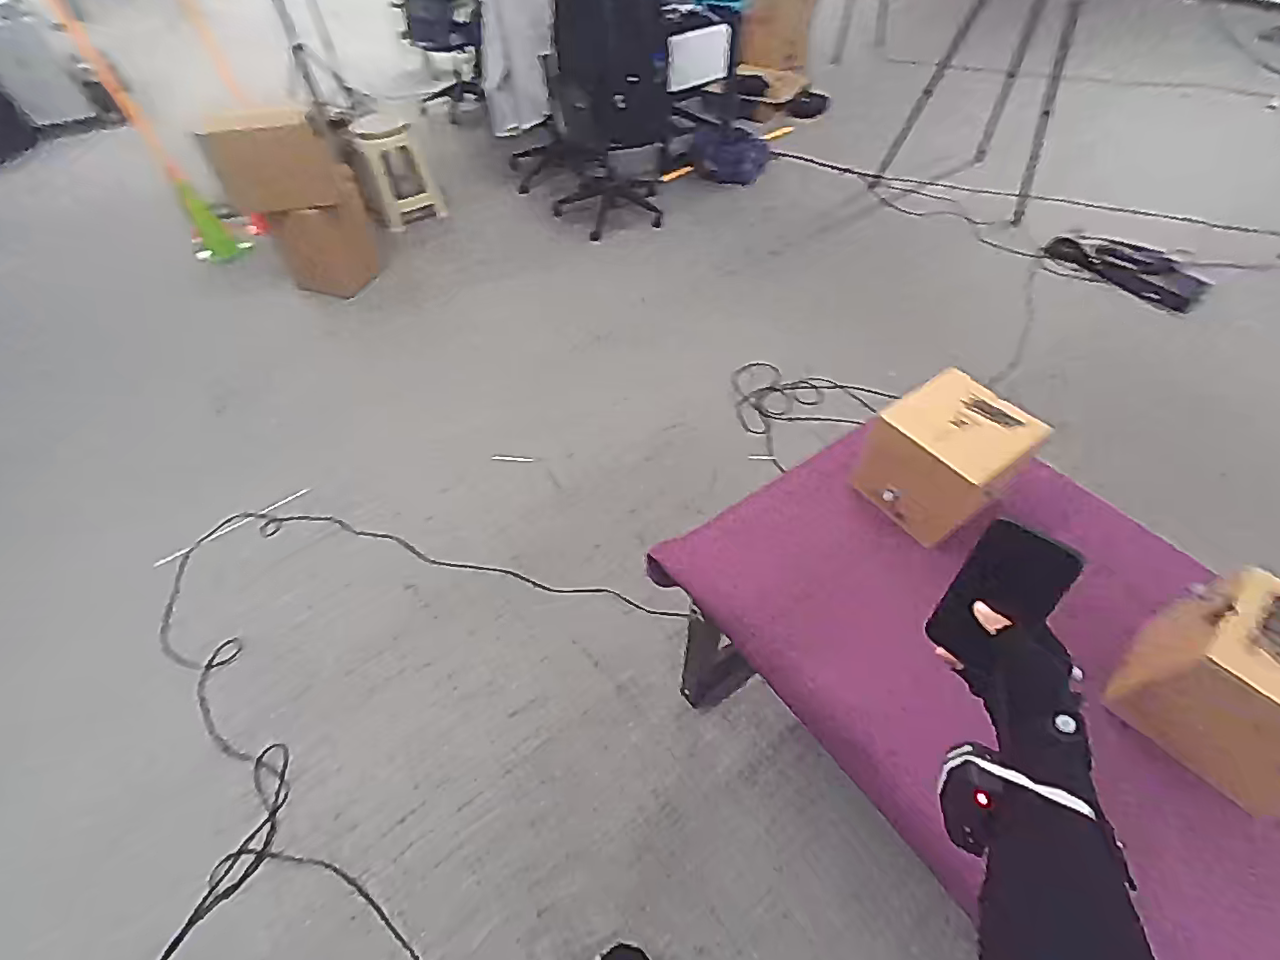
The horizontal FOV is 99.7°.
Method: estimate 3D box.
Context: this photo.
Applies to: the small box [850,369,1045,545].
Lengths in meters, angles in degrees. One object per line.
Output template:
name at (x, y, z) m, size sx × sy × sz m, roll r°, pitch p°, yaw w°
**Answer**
small box at (0.458, -0.033, 0.837) m, size 0.179 × 0.176 × 0.168 m, roll -30°, pitch 57°, yaw -19°
